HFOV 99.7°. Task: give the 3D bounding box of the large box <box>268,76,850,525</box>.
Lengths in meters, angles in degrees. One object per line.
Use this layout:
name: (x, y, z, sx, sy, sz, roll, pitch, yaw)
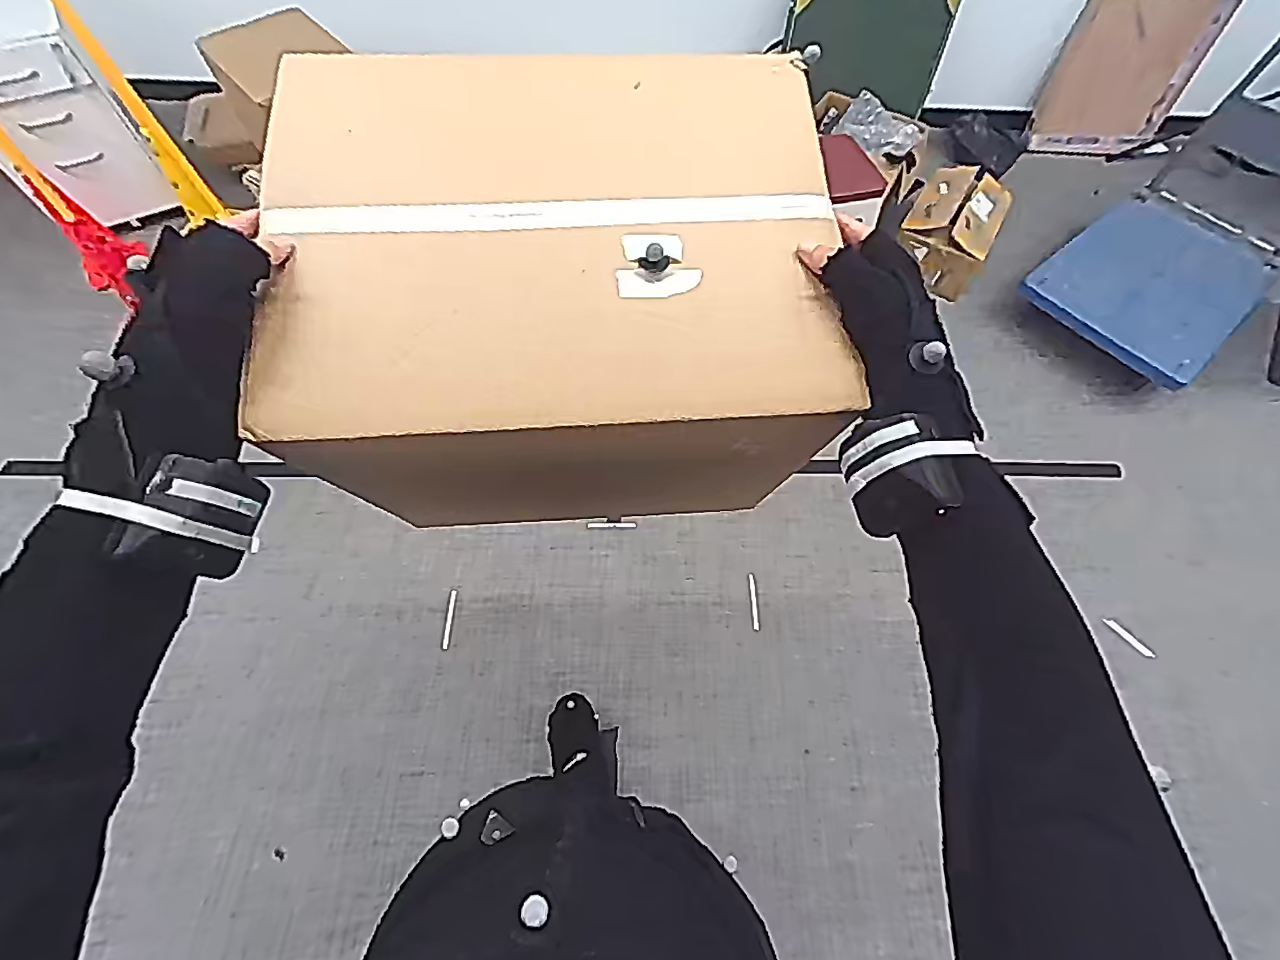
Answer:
large box: (-0.068, -0.145, 0.549, 0.408, 0.320, 0.320, -3, 75, -4)
